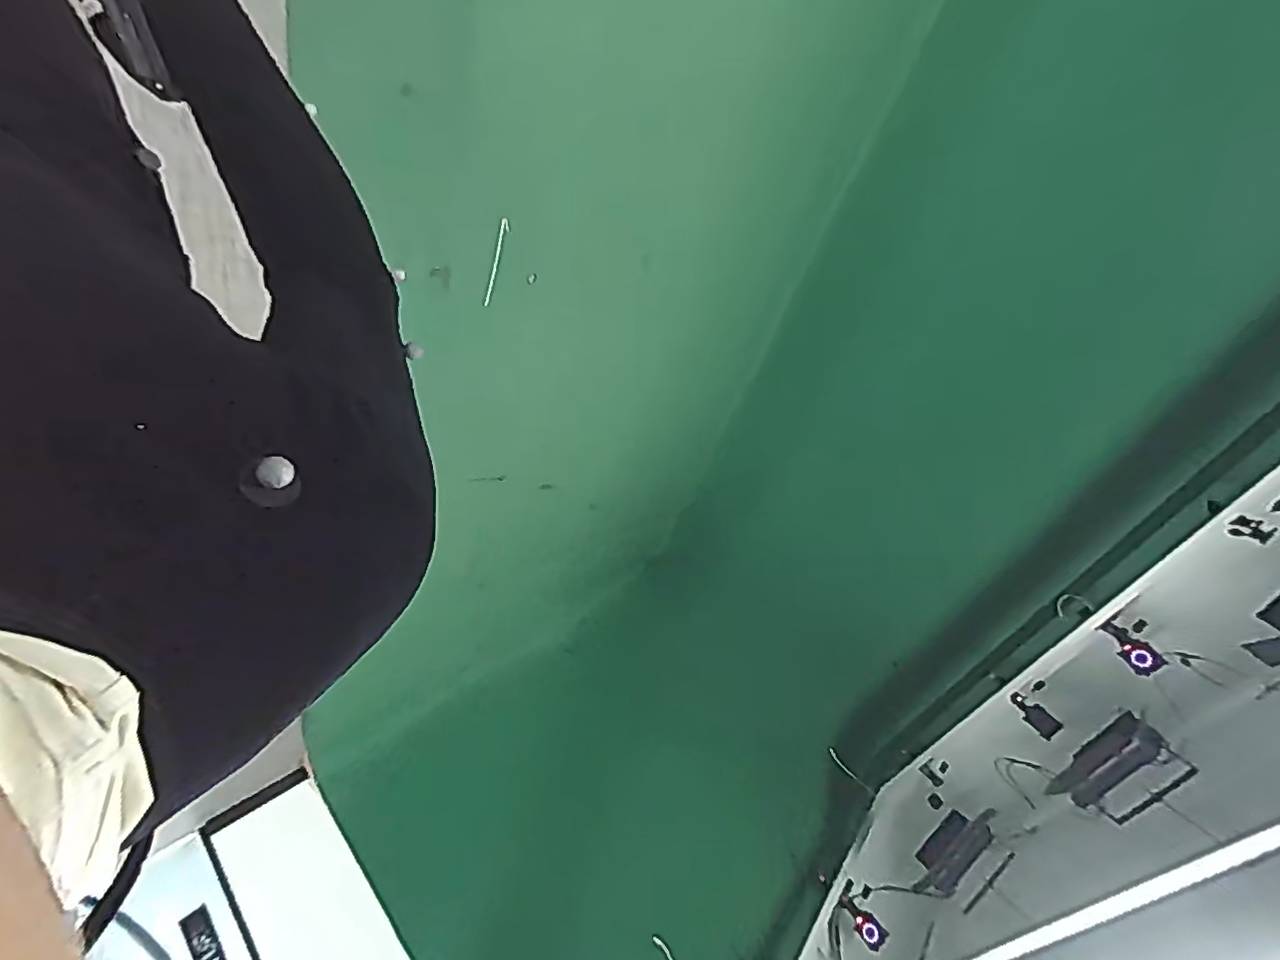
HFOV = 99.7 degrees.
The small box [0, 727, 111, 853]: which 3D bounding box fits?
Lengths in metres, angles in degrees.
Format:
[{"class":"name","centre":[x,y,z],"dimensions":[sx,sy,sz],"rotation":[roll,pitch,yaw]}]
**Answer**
[{"class":"small box","centre":[-1.442,0.745,1.317],"dimensions":[0.179,0.176,0.168],"rotation":[-18,141,-47]}]
